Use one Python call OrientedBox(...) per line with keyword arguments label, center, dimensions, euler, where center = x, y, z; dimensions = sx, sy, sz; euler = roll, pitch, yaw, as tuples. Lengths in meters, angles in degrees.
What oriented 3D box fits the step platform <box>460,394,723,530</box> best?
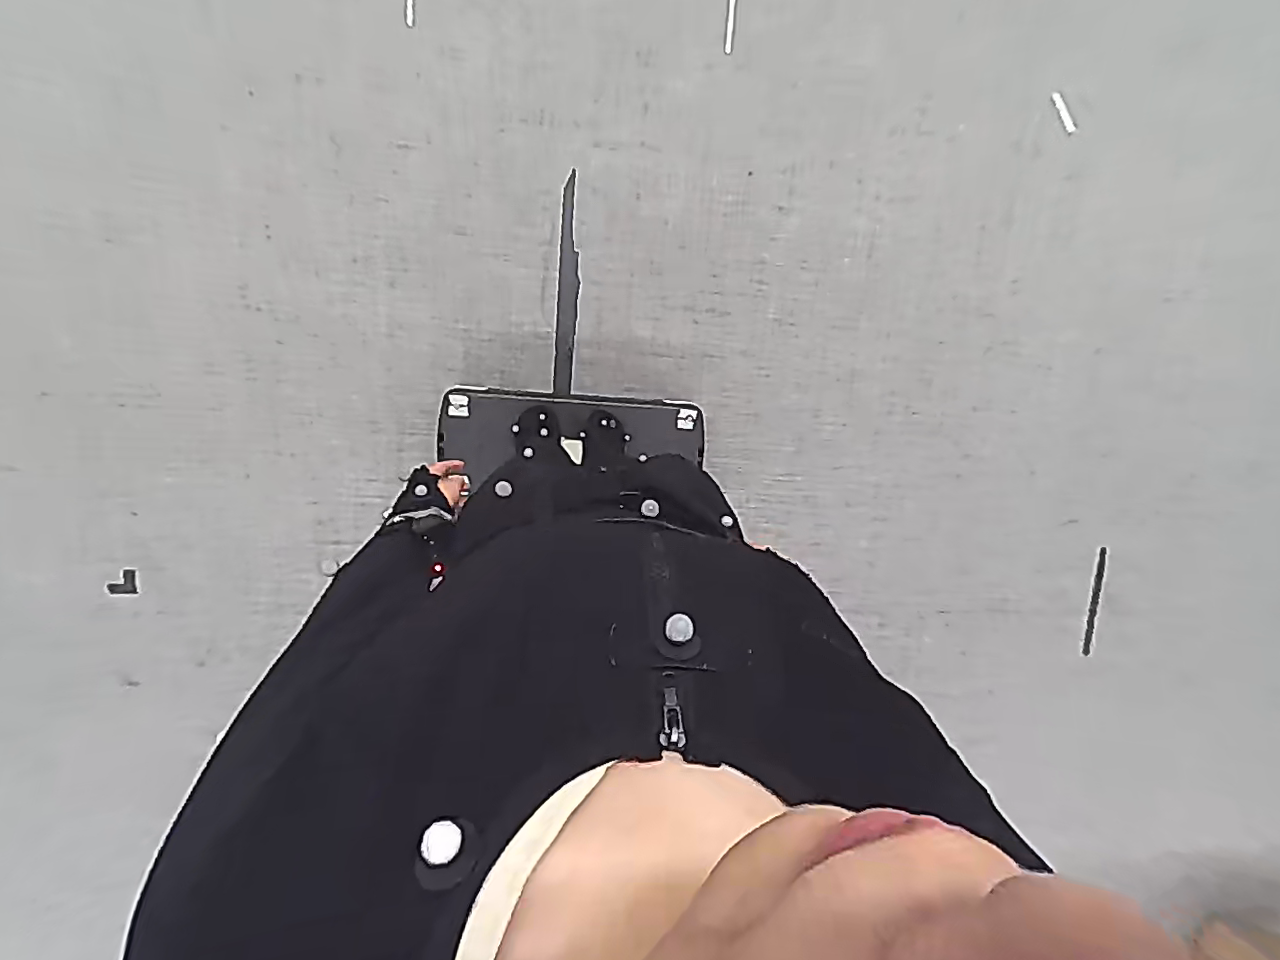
OrientedBox(label="step platform", center=(-0.124, -0.046, 1.450), dimensions=(0.684, 0.204, 0.286), euler=(7, 97, -9))
